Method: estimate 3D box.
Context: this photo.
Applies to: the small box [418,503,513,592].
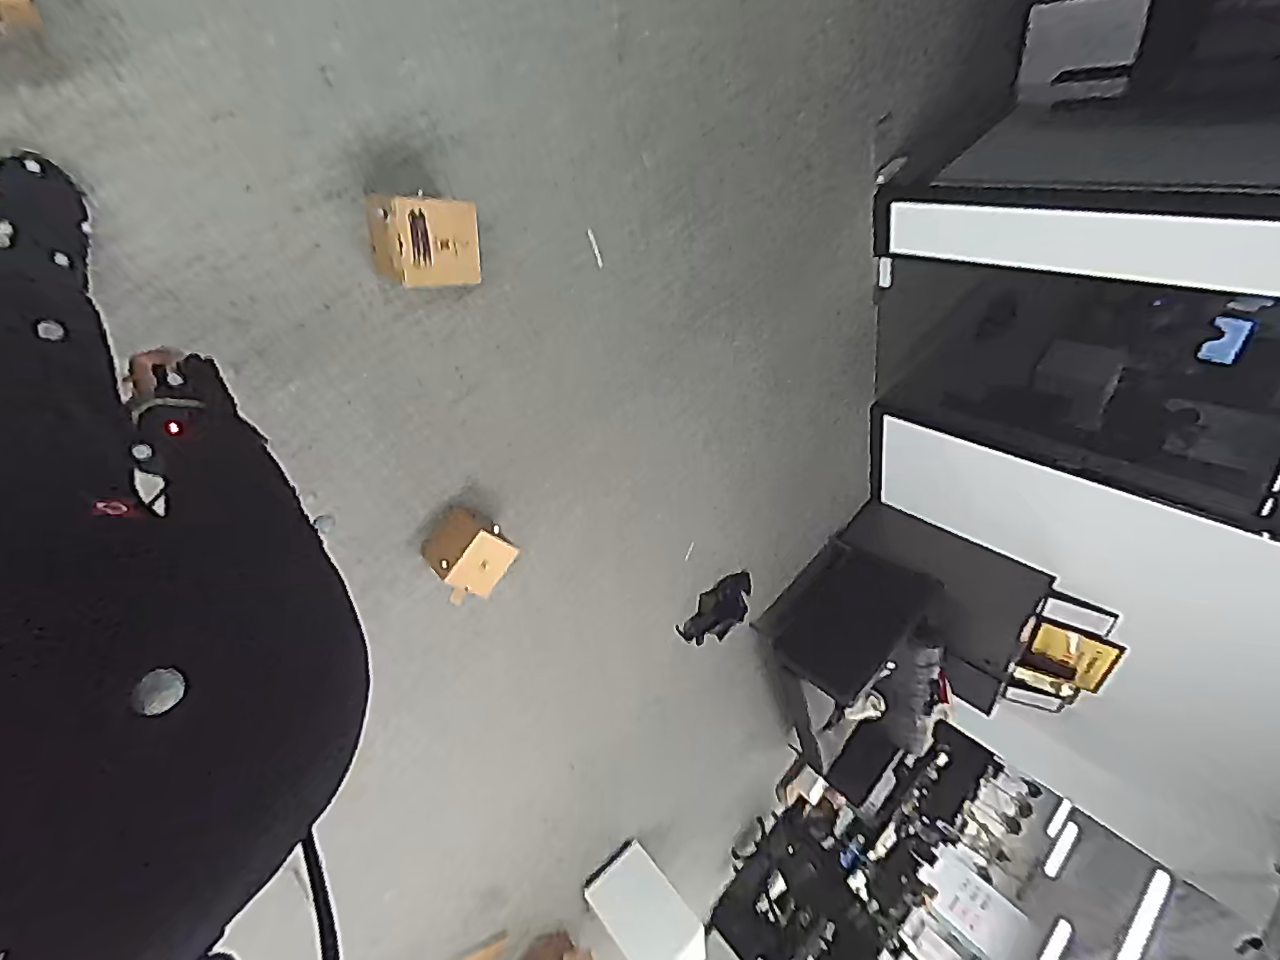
[{"bbox_3d":[-0.516,0.194,1.583,0.179,0.176,0.168,-54,140,-4],"label":"small box"}]
